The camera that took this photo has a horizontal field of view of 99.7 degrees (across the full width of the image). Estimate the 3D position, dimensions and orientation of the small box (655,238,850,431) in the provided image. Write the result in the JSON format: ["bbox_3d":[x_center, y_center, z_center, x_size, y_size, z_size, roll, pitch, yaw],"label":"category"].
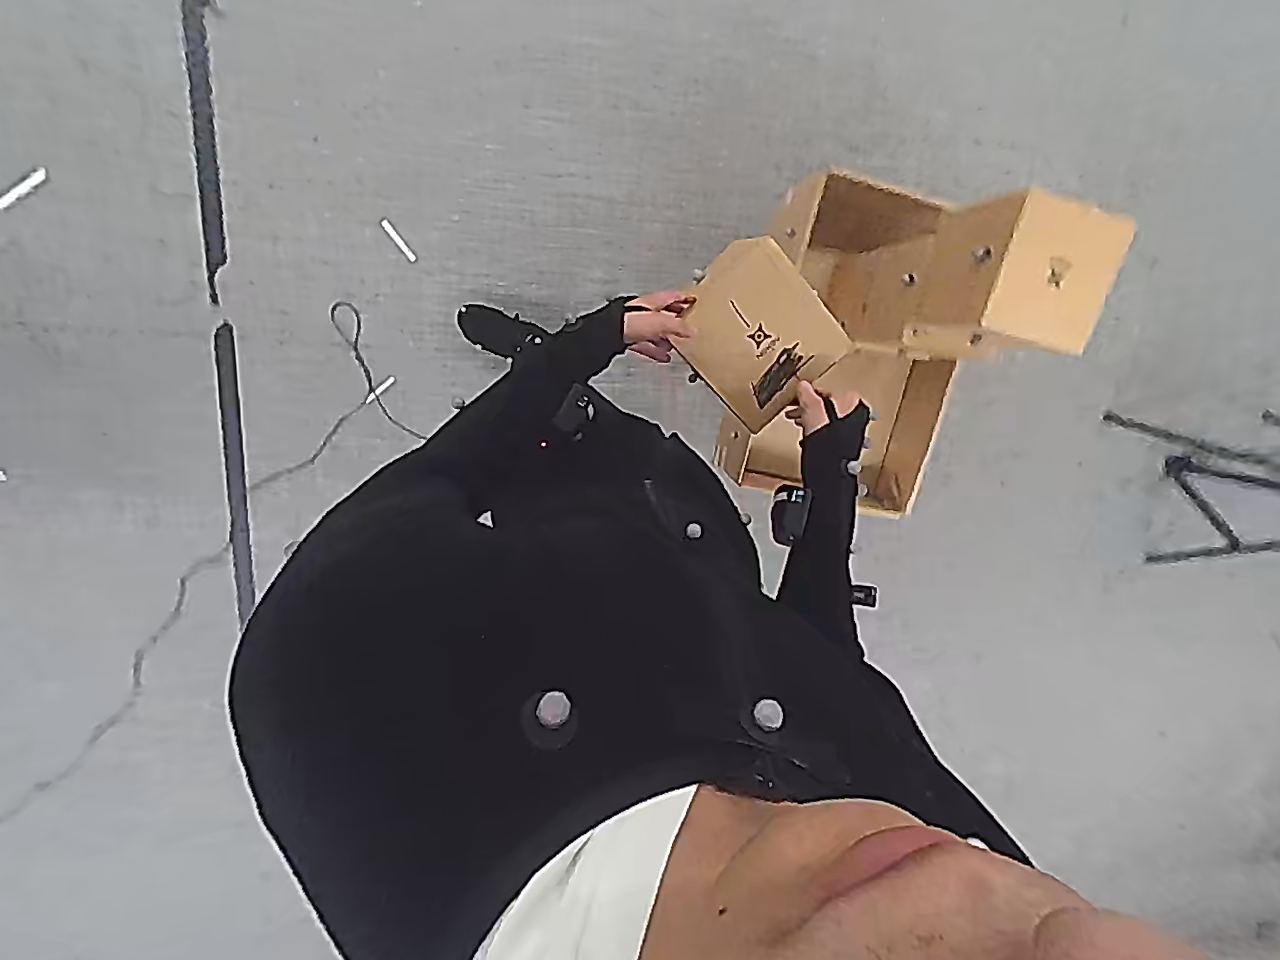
[{"bbox_3d":[0.139,-0.200,0.729,0.168,0.176,0.179,-44,108,12],"label":"small box"}]

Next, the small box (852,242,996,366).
[{"bbox_3d":[0.509,-0.302,0.945,0.179,0.176,0.168,8,104,-10],"label":"small box"}]

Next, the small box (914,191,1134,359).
[{"bbox_3d":[0.534,-0.284,0.783,0.168,0.176,0.179,11,103,-10],"label":"small box"}]
